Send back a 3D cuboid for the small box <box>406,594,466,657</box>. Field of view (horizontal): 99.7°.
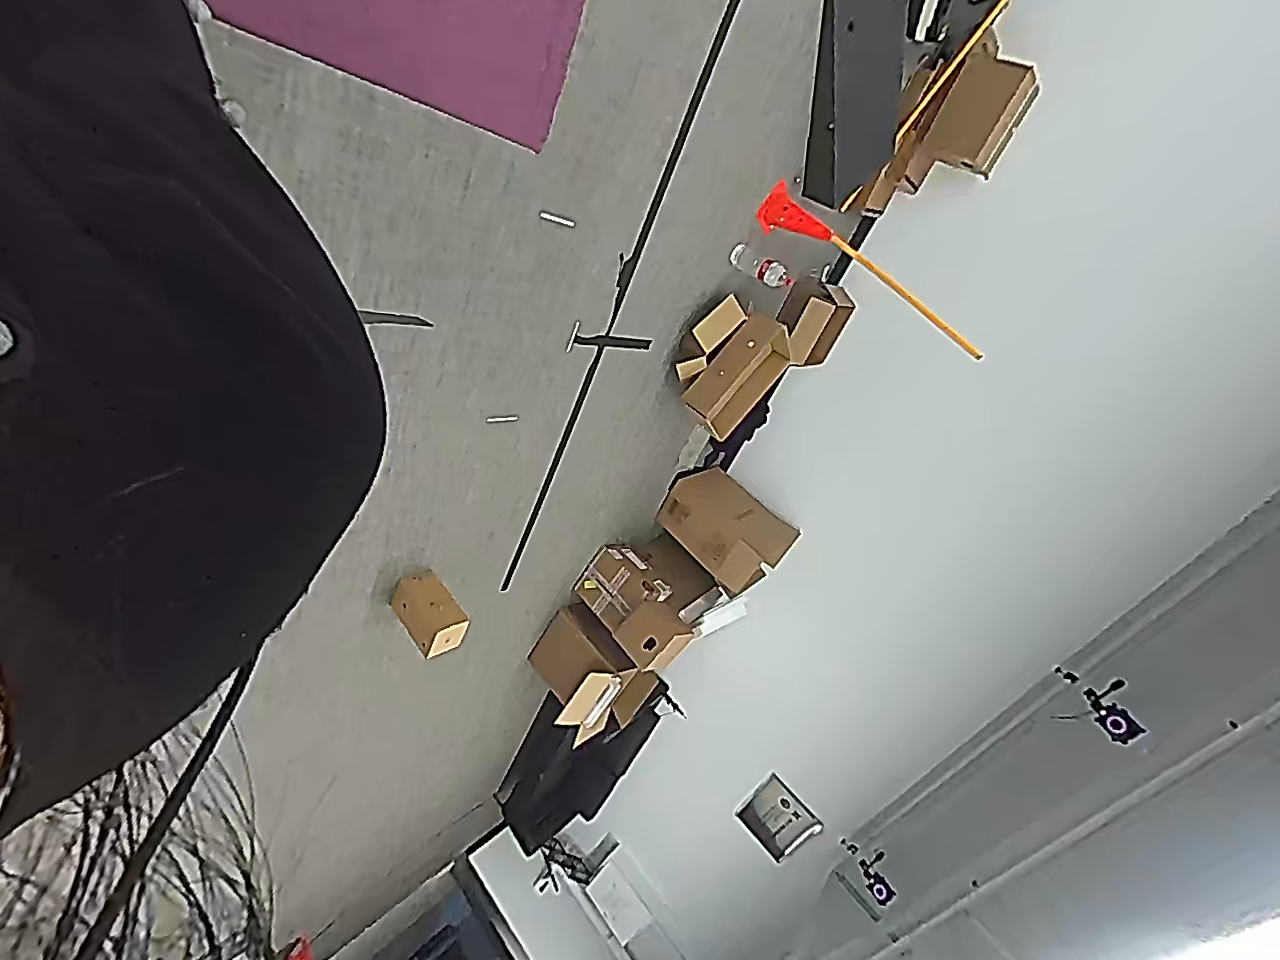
[{"bbox_3d":[-0.903,0.637,2.382,0.168,0.176,0.179,-11,135,-54],"label":"small box"}]
